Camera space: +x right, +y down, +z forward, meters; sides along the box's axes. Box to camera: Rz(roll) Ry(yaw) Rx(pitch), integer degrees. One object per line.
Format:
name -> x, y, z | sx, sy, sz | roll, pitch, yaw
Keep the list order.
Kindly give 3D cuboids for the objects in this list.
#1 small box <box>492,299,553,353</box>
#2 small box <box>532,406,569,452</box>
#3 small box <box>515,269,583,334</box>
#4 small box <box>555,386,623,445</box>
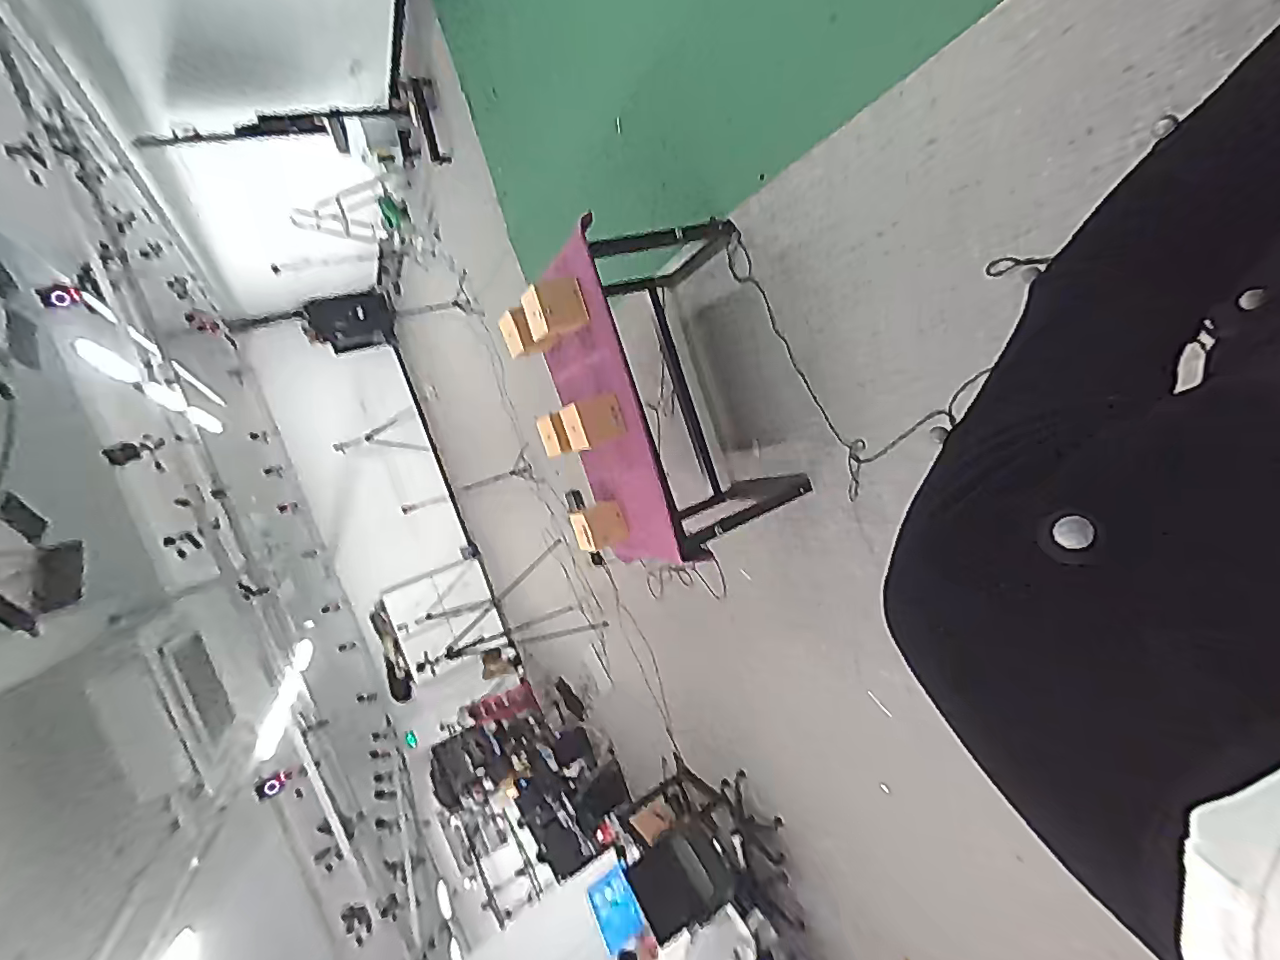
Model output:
small box -> -0.480, -0.640, 2.219 | 0.179, 0.176, 0.168 | -6, 108, 61
small box -> -0.326, -0.228, 2.266 | 0.179, 0.176, 0.168 | -8, 102, 61
small box -> -0.326, -0.639, 1.941 | 0.179, 0.176, 0.168 | 3, 114, 64
small box -> -0.188, -0.237, 2.003 | 0.179, 0.176, 0.168 | -2, 109, 62
